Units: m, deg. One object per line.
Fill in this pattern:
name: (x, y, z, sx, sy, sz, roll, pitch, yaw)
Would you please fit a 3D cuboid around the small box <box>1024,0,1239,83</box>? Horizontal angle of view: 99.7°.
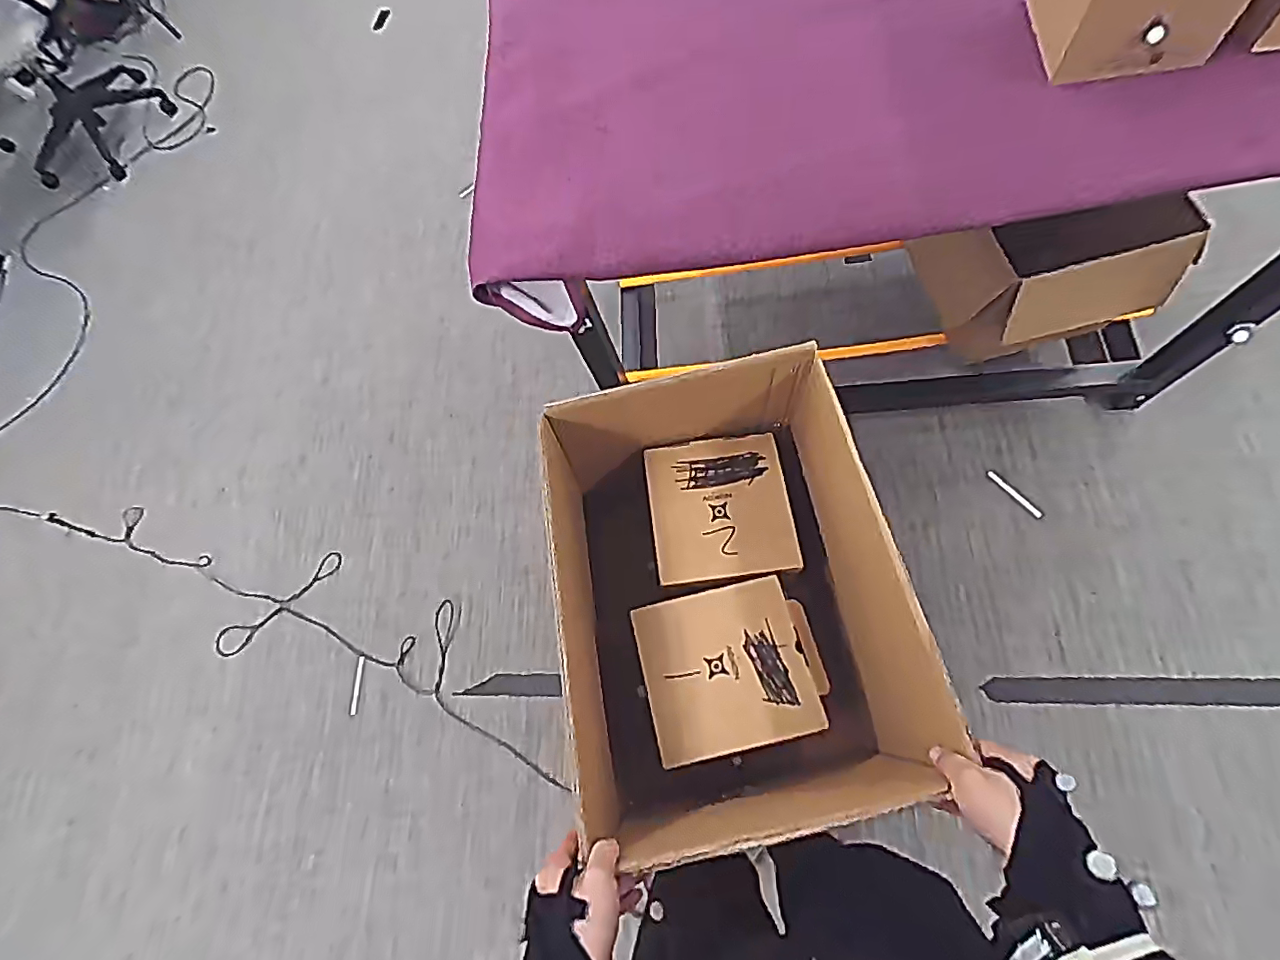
small box: (0.574, -0.603, 0.616, 0.168, 0.176, 0.179, -1, 70, 12)
